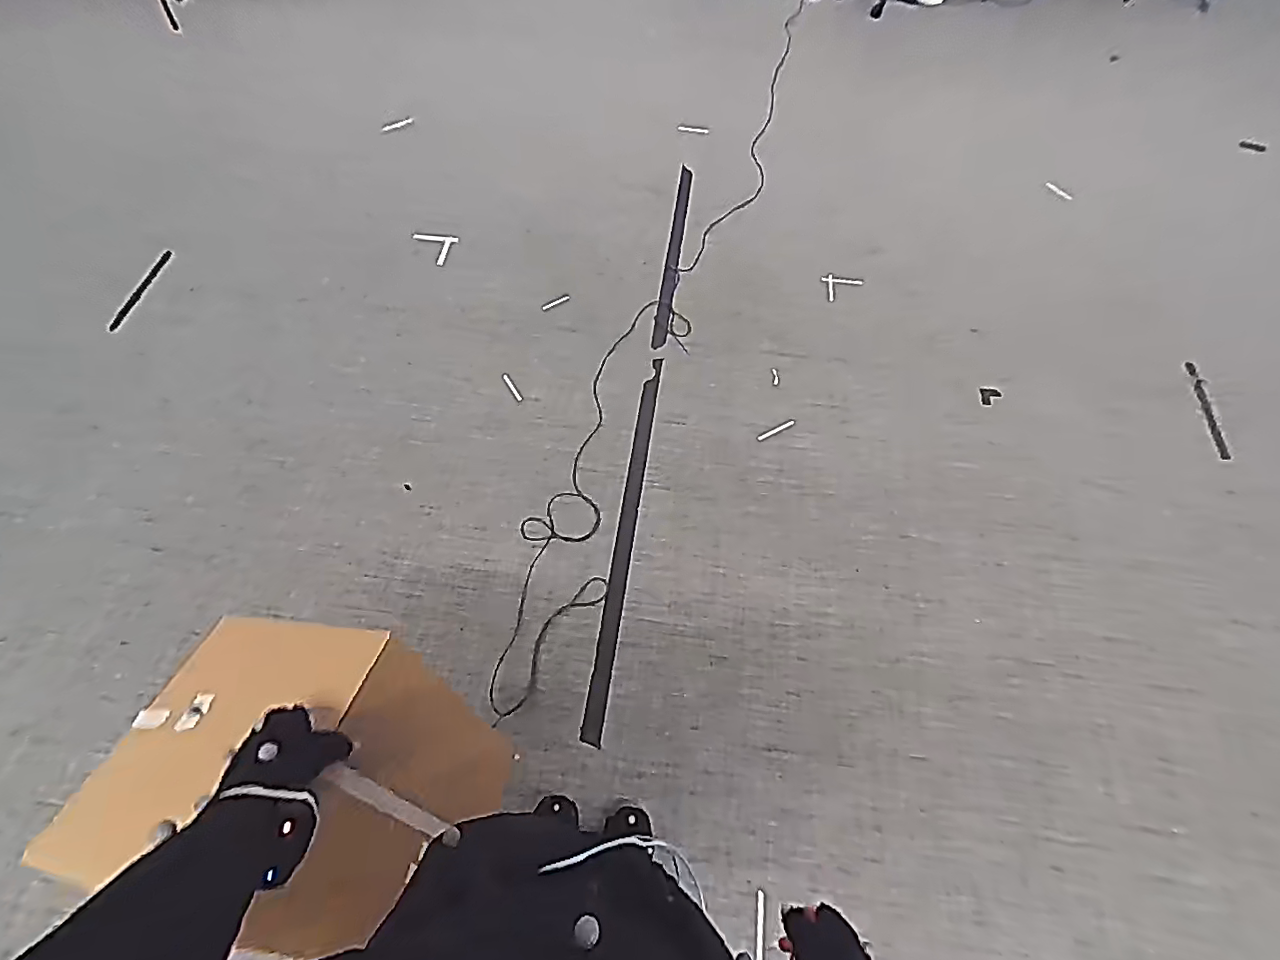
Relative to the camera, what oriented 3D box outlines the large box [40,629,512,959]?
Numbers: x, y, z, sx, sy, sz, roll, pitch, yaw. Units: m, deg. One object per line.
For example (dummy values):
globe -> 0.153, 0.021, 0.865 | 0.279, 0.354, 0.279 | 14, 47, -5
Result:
large box -> -0.446, 0.456, 0.774 | 0.320, 0.408, 0.320 | 2, 45, 19
